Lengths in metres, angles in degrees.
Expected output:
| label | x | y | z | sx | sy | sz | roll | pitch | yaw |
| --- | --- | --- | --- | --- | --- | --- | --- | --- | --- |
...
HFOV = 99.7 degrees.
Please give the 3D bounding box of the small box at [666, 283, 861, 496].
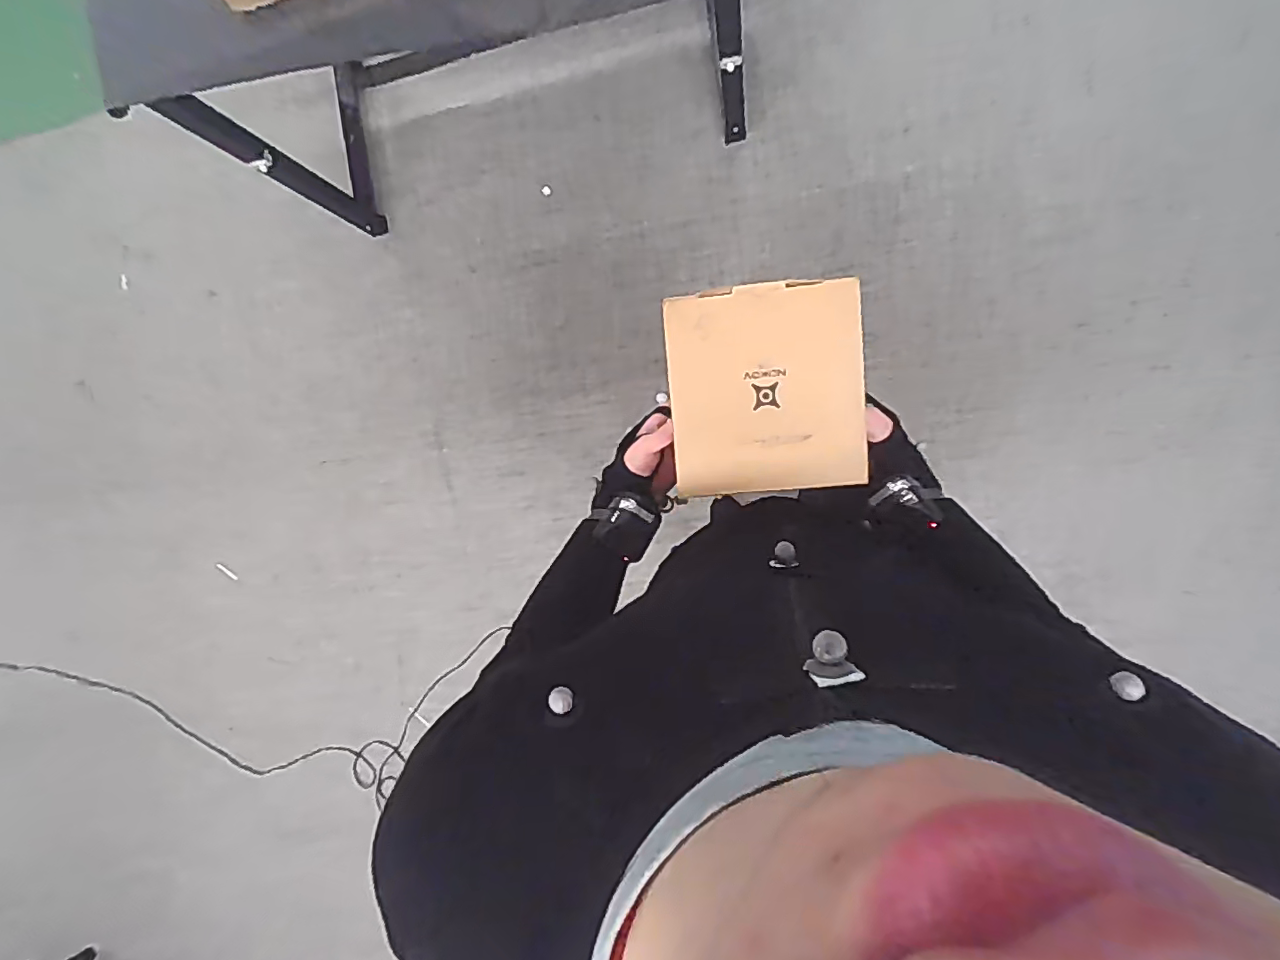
| label | x | y | z | sx | sy | sz | roll | pitch | yaw |
| --- | --- | --- | --- | --- | --- | --- | --- | --- | --- |
| small box | 0.114 | -0.085 | 0.546 | 0.168 | 0.176 | 0.179 | -3 | 97 | 7 |
